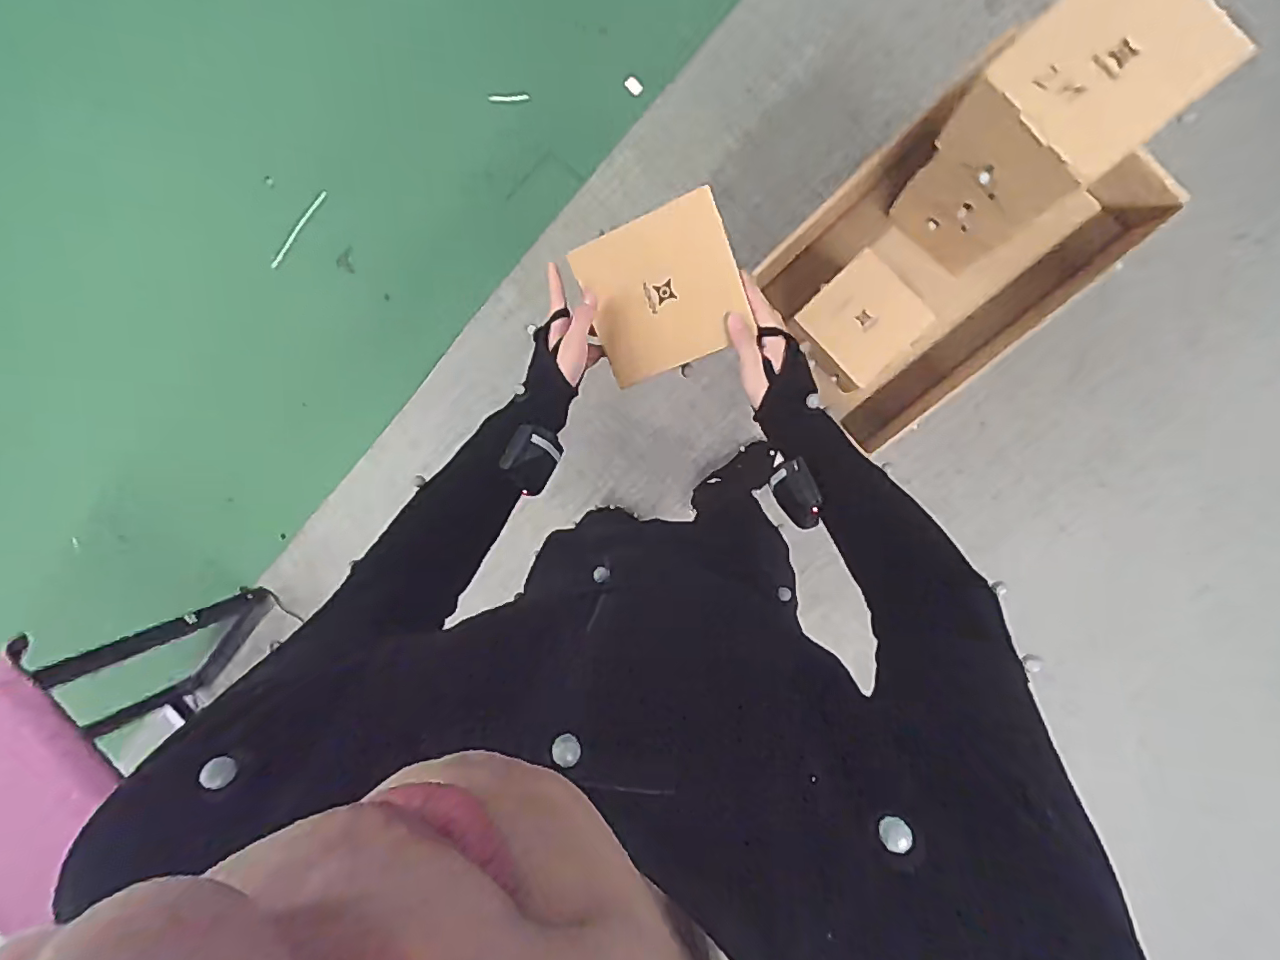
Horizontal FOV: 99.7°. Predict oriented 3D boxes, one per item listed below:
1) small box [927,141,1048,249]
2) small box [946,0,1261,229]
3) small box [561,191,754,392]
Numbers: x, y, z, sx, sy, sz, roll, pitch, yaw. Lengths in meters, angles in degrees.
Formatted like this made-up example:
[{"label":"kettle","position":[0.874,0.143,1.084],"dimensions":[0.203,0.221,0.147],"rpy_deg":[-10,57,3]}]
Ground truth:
[{"label":"small box","position":[0.540,-0.462,0.767],"dimensions":[0.168,0.176,0.179],"rpy_deg":[44,106,3]},{"label":"small box","position":[0.492,-0.426,0.612],"dimensions":[0.179,0.176,0.168],"rpy_deg":[-39,88,16]},{"label":"small box","position":[0.033,-0.227,0.672],"dimensions":[0.179,0.176,0.168],"rpy_deg":[-19,102,19]}]
